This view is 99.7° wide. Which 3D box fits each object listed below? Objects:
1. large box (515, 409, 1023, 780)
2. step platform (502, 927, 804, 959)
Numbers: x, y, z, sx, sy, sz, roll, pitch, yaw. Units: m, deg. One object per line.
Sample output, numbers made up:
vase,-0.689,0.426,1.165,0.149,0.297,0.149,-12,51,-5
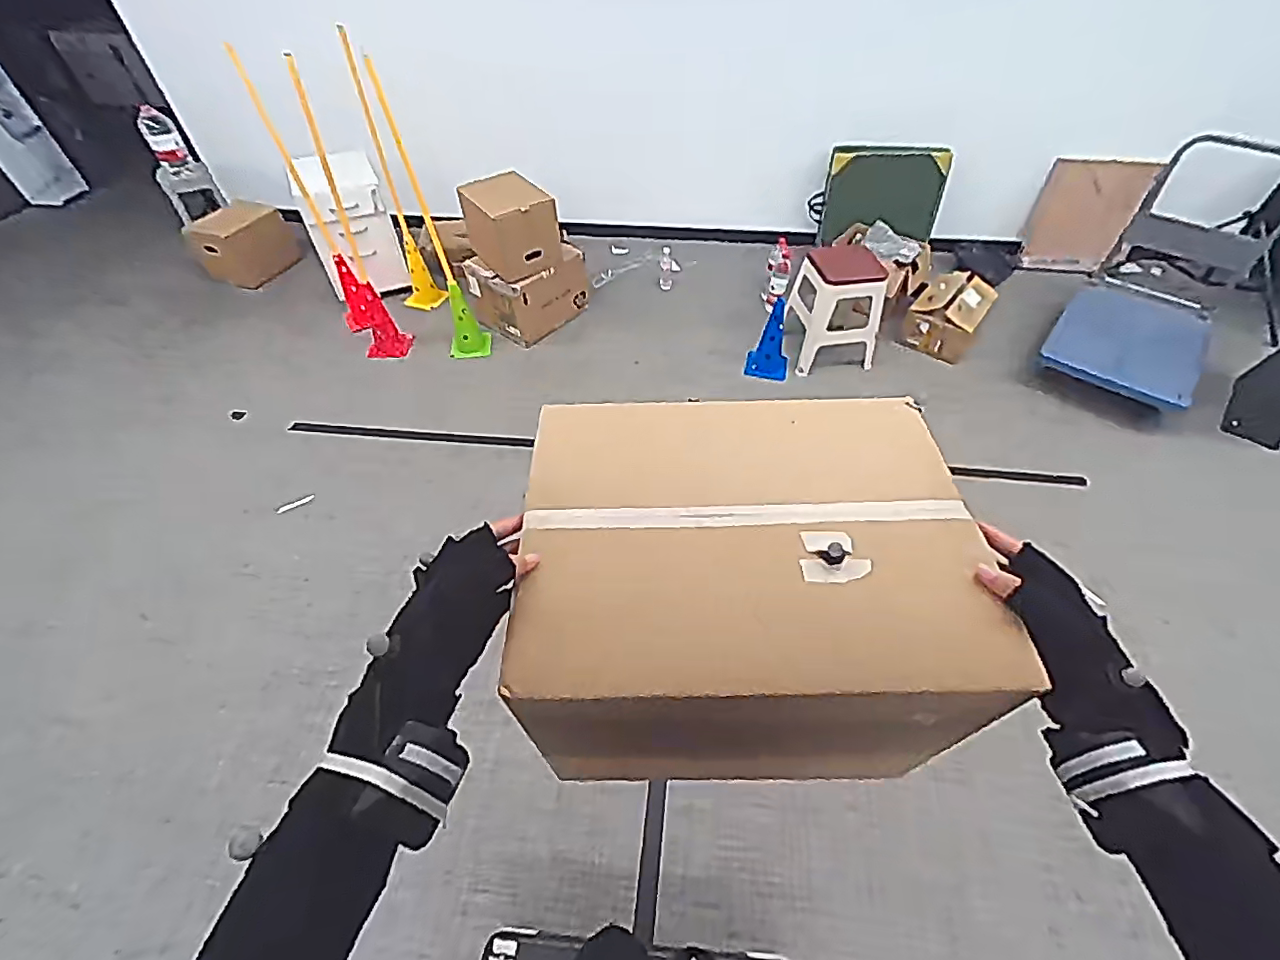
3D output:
large box,0.097,0.137,0.623,0.408,0.320,0.320,-1,51,0
step platform,0.030,1.127,1.104,0.684,0.204,0.286,4,49,2
